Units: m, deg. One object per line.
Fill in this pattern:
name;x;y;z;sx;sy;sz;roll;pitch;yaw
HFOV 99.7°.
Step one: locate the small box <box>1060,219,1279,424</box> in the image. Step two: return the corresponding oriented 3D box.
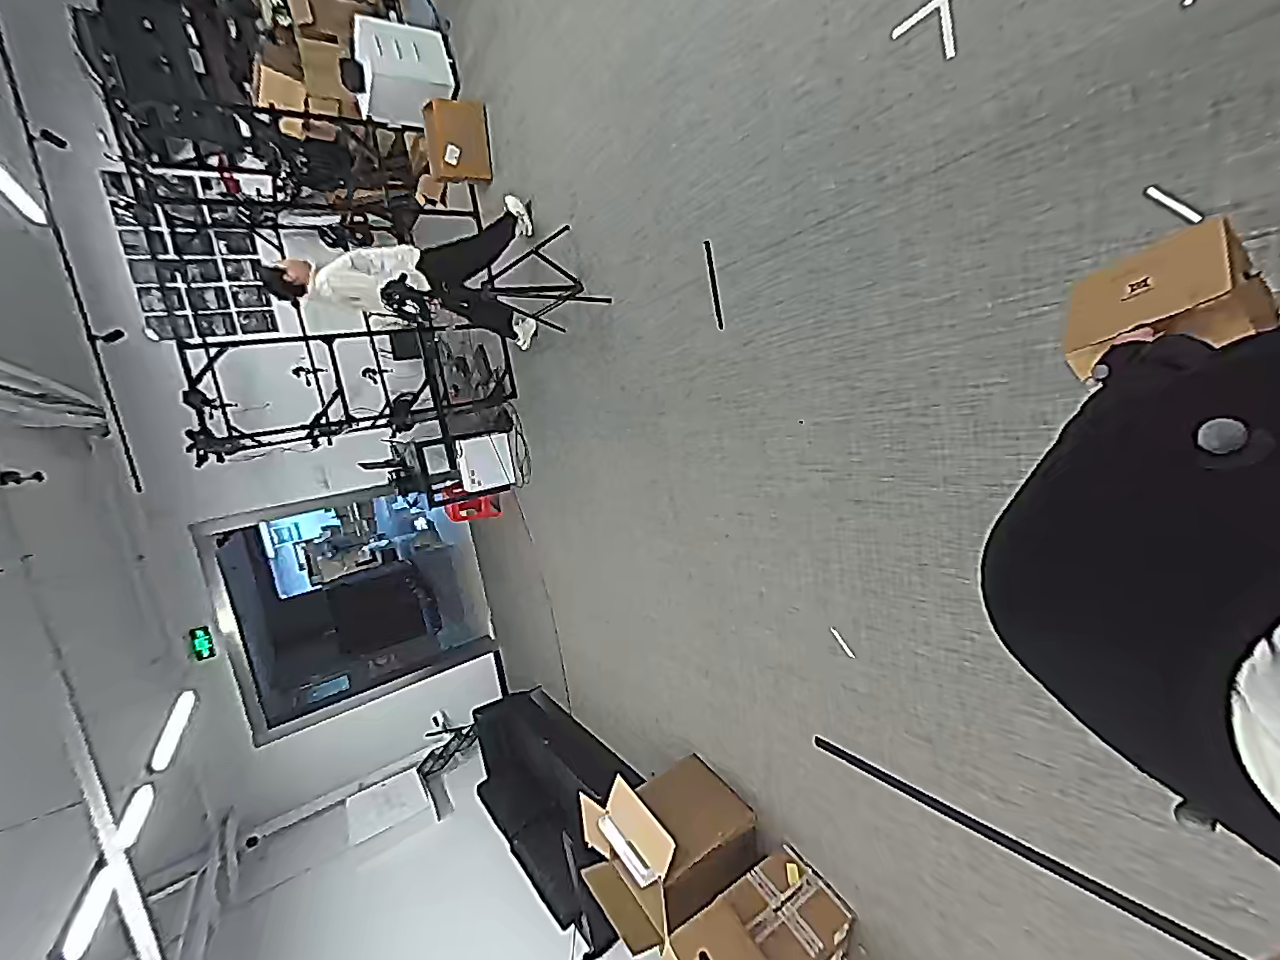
small box;0.706;-0.196;0.725;0.176;0.179;0.168;41;150;-16
